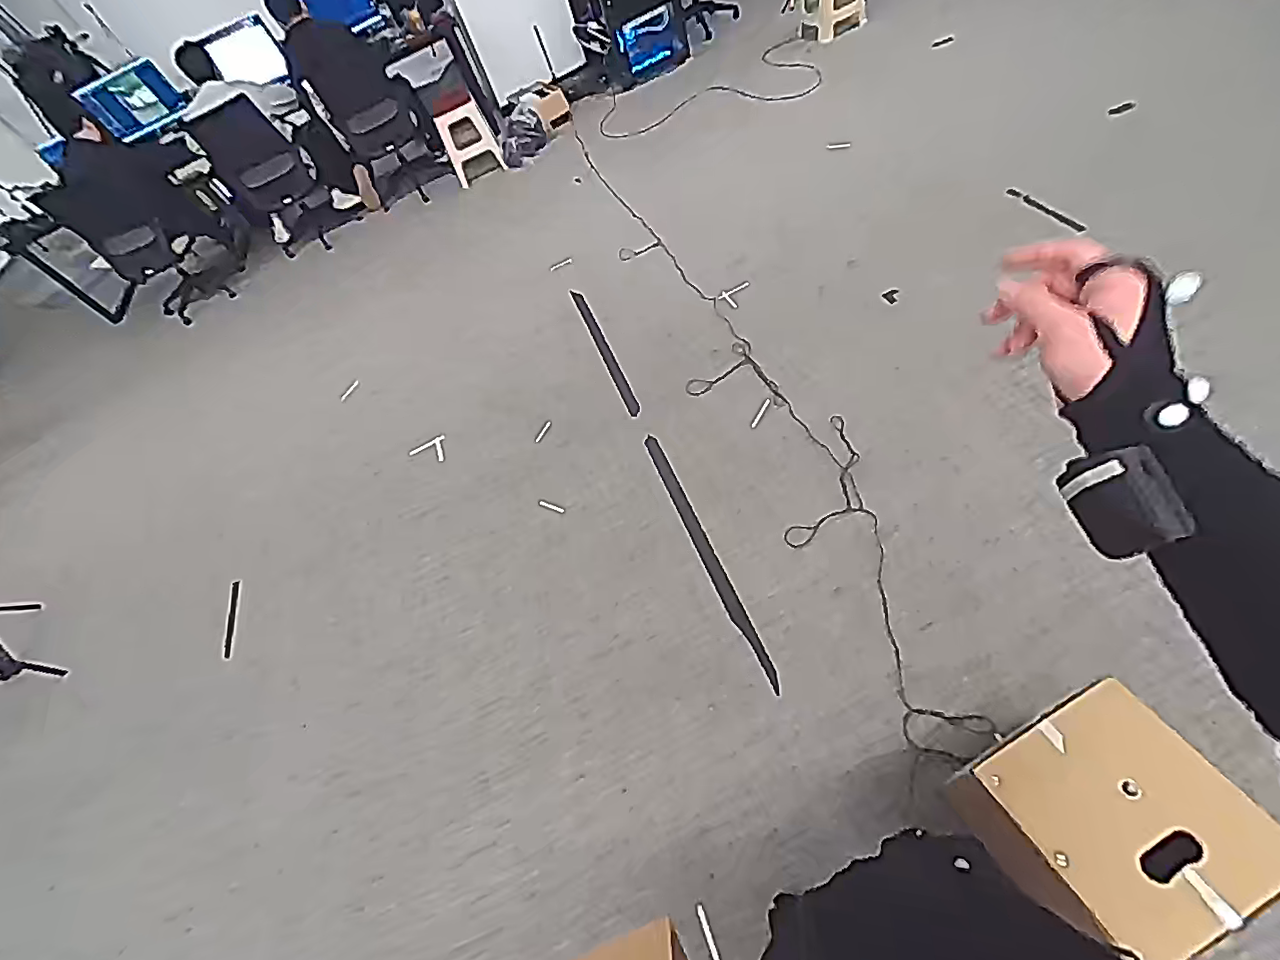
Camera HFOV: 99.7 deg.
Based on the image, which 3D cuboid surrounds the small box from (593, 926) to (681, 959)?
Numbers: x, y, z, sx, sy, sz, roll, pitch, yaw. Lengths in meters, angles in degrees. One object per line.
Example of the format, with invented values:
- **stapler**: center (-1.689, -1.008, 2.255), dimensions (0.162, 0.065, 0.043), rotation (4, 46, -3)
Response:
- **small box**: center (0.001, 0.739, 0.683), dimensions (0.168, 0.179, 0.176), rotation (-23, 87, -1)
